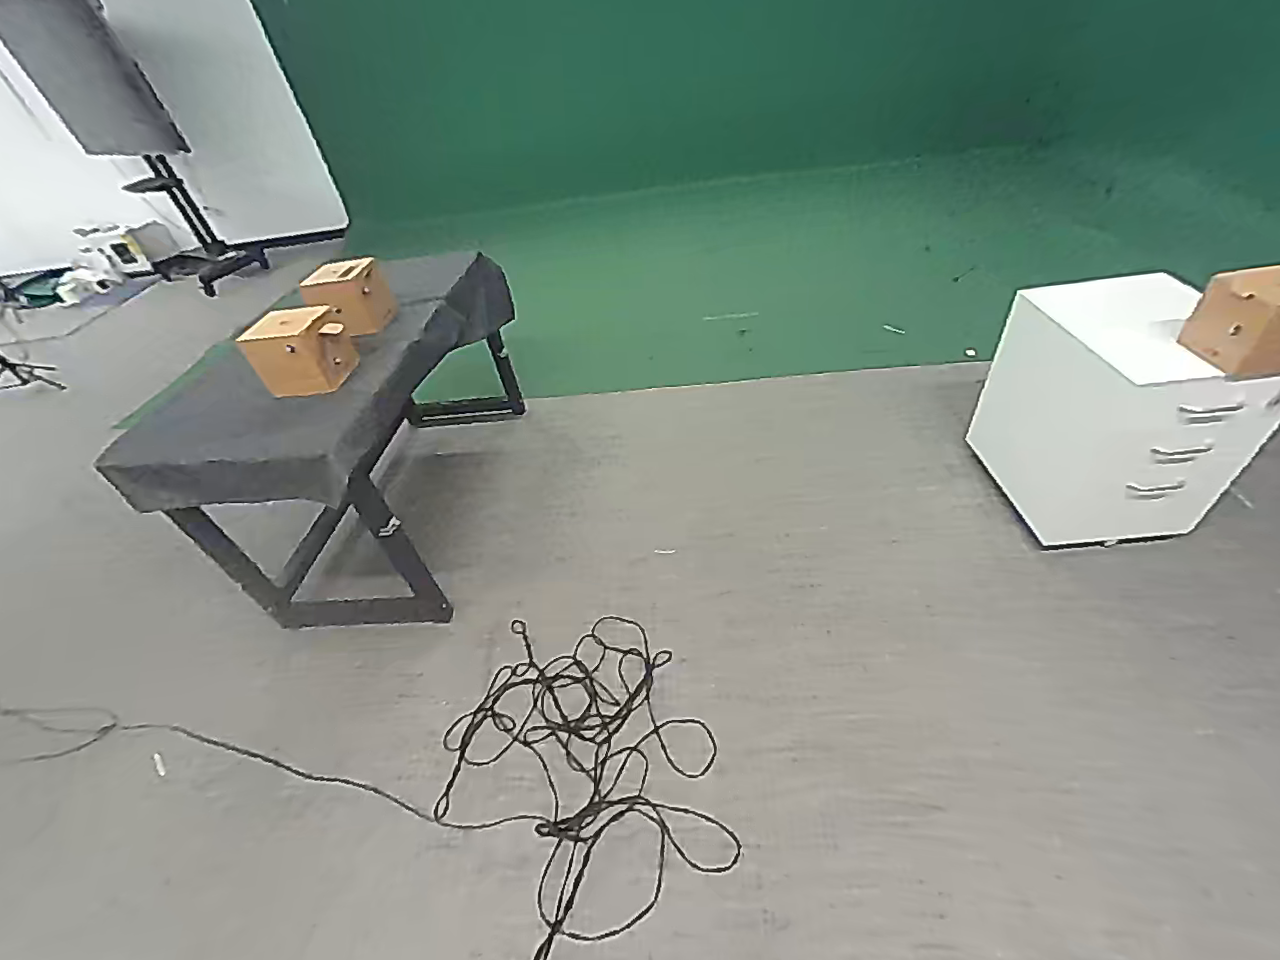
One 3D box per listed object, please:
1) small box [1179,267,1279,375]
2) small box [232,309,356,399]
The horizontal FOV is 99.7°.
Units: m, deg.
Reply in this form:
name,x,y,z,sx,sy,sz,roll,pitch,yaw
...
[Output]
name,x,y,z,sx,sy,sz,roll,pitch,yaw
small box,1.347,-0.343,1.180,0.179,0.176,0.168,-6,42,4
small box,-0.884,-0.324,1.400,0.179,0.176,0.168,-4,42,6
